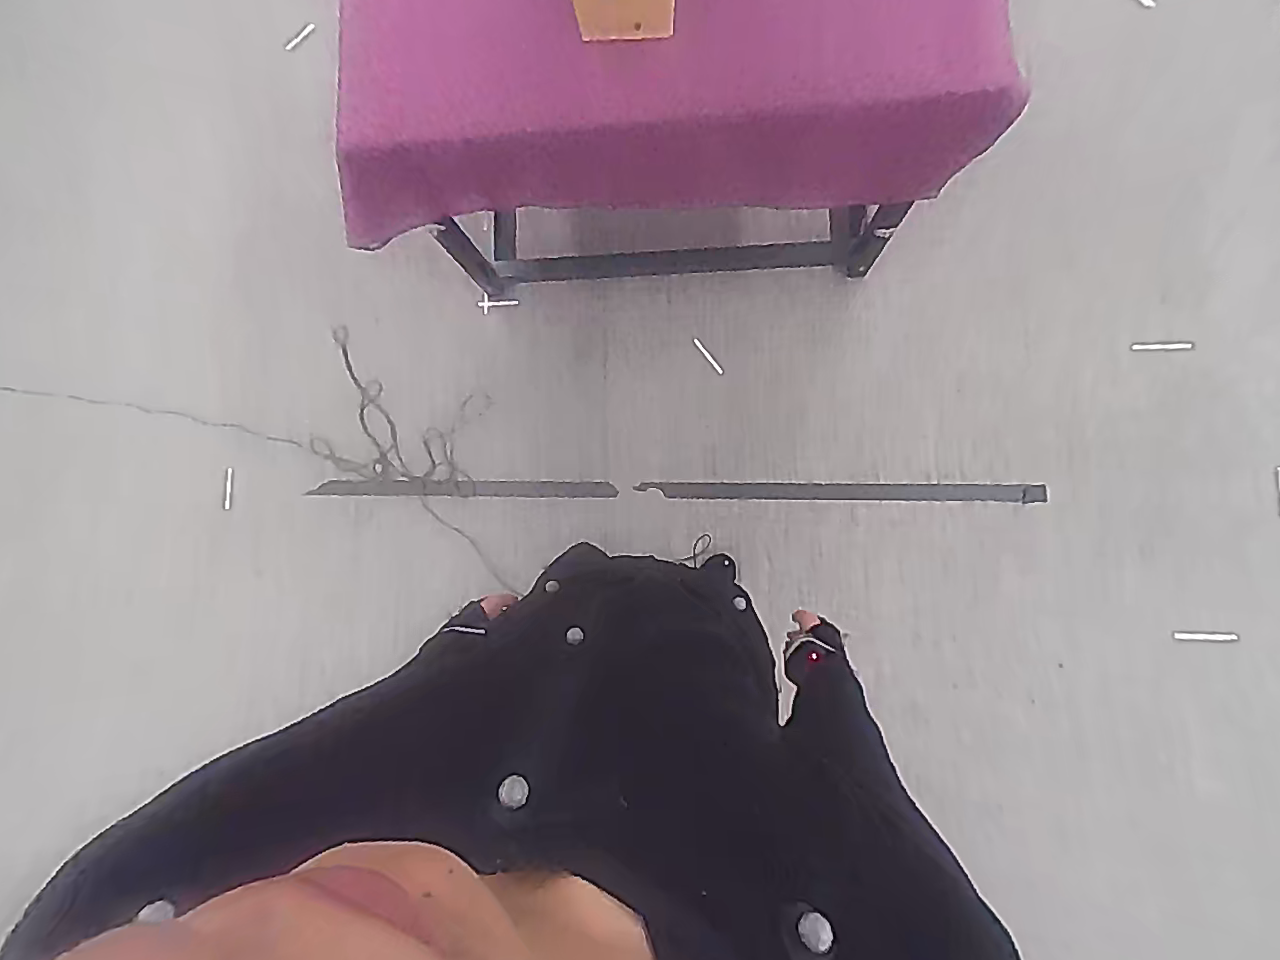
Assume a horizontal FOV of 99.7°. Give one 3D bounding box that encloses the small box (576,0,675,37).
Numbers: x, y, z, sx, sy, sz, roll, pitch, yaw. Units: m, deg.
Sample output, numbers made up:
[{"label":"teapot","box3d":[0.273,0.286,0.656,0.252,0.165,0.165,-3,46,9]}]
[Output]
[{"label":"small box","box3d":[-0.025,-0.892,0.911,0.168,0.176,0.179,3,85,7]}]
